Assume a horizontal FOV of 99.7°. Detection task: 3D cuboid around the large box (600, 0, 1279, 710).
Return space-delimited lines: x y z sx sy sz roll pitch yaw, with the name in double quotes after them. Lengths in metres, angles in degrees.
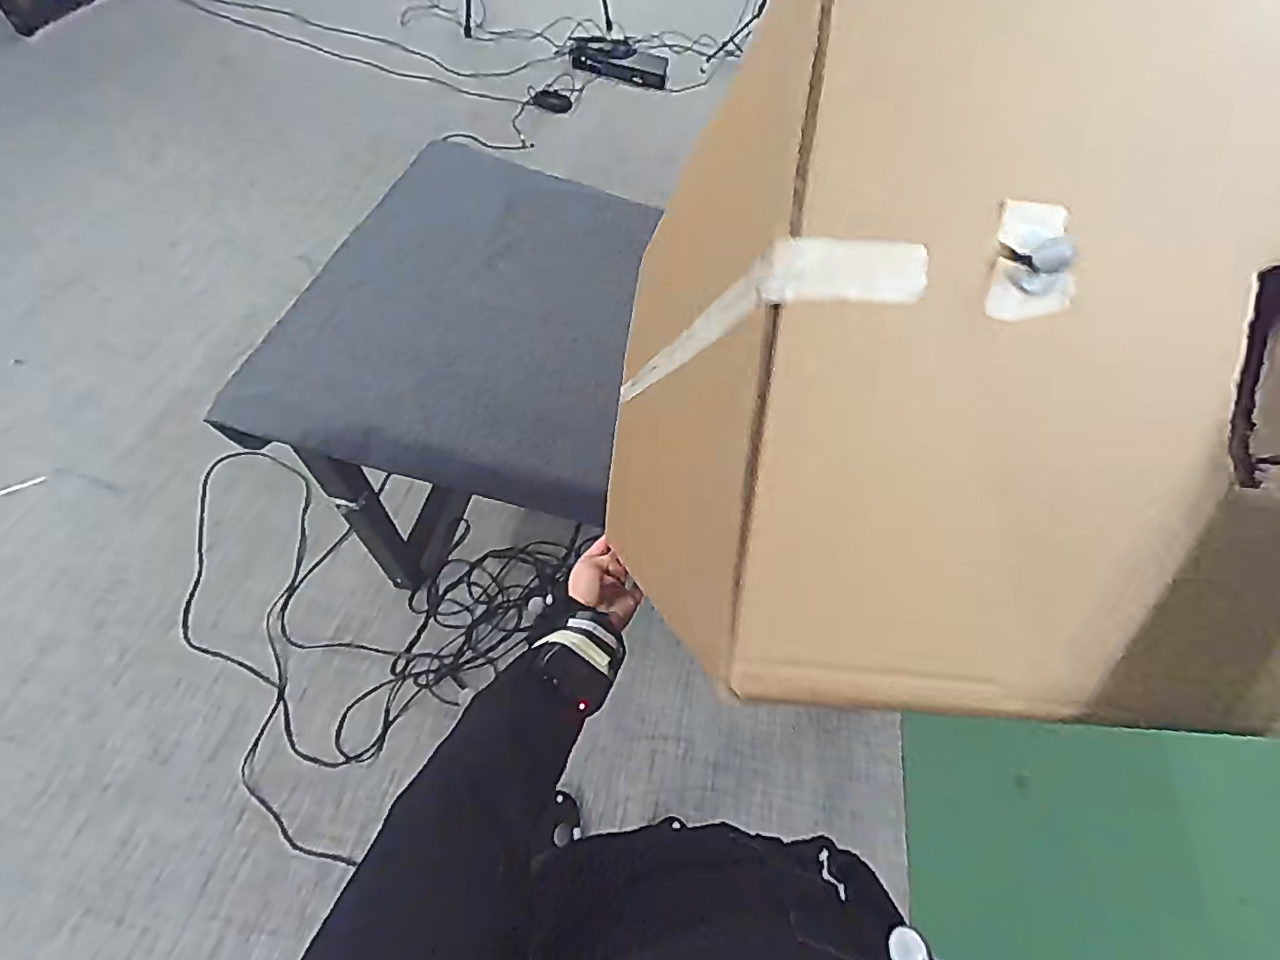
0.161 -0.063 0.419 0.320 0.408 0.320 7 92 -12 "large box"
